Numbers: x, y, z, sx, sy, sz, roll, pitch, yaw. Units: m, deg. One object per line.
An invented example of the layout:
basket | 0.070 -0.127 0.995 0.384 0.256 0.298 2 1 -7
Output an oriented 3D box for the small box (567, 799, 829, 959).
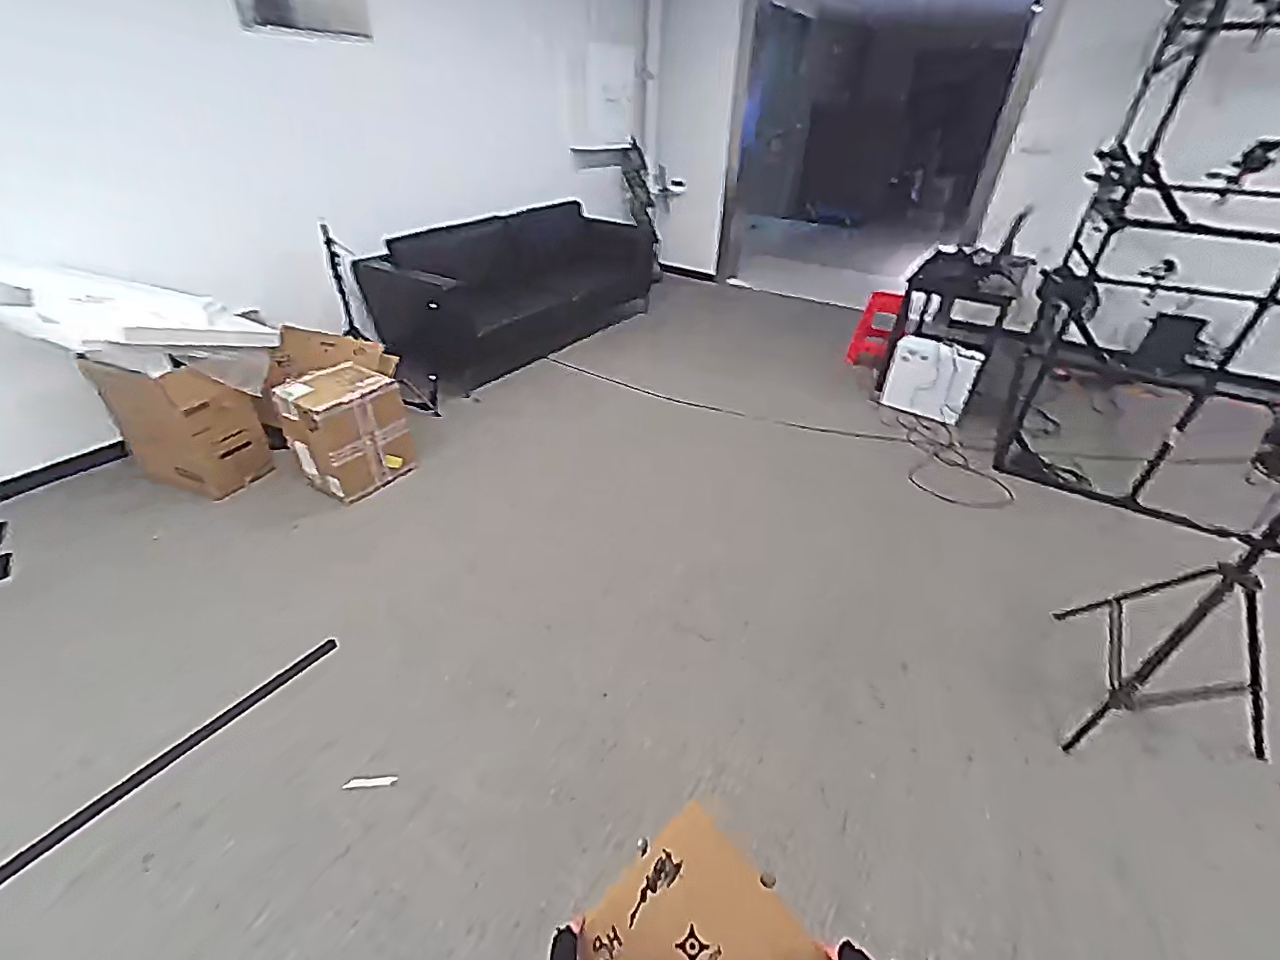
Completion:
small box | 0.056 0.452 0.546 0.168 0.176 0.179 -42 66 -17
